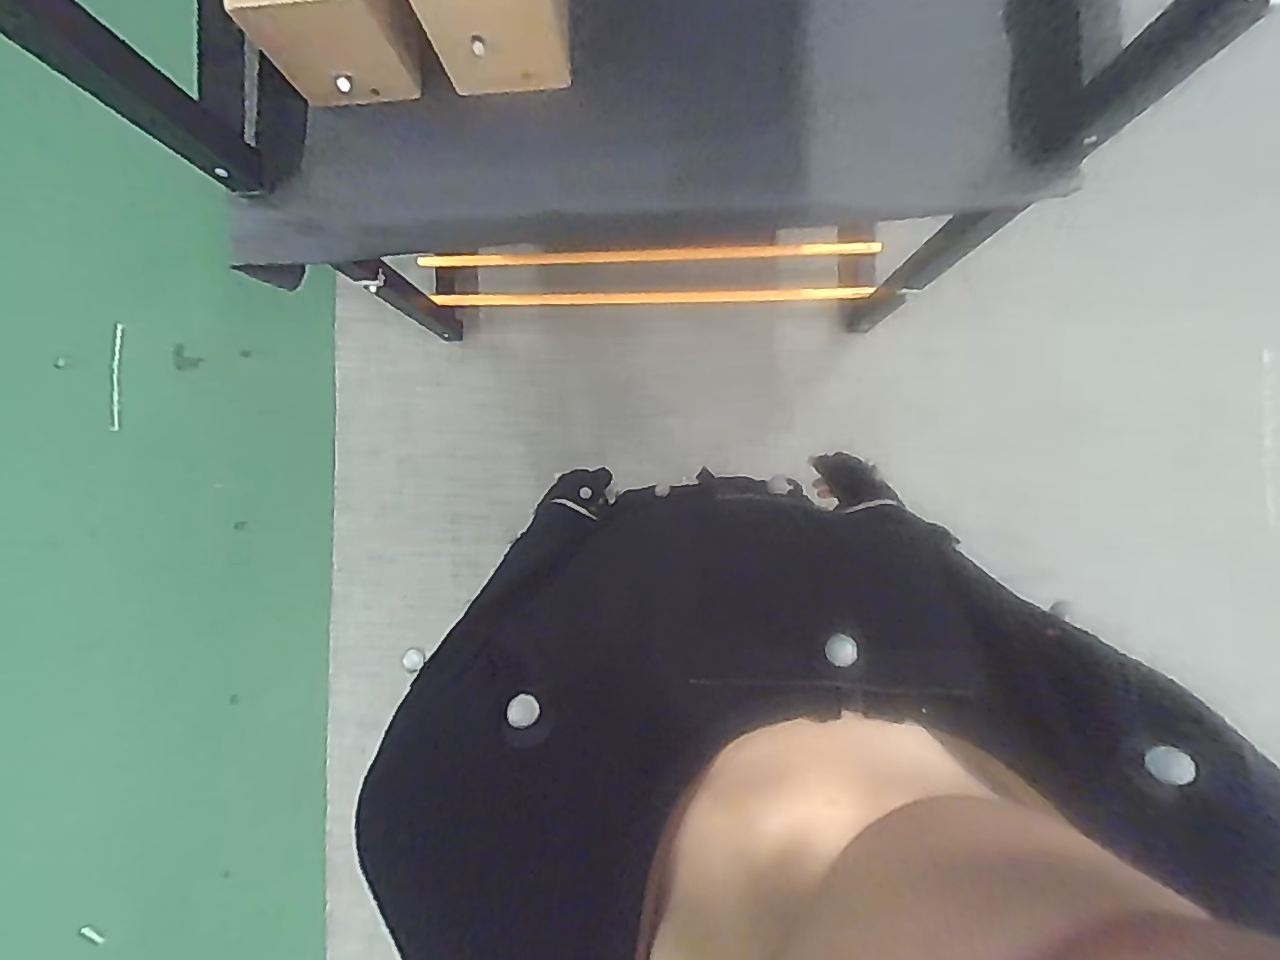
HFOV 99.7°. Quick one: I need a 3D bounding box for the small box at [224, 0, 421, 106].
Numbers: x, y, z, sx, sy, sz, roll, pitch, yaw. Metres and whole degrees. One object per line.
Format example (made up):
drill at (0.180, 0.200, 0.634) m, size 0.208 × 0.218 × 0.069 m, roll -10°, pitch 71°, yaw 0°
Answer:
small box at (-0.406, -0.640, 0.712) m, size 0.168 × 0.176 × 0.179 m, roll -3°, pitch 89°, yaw 3°
